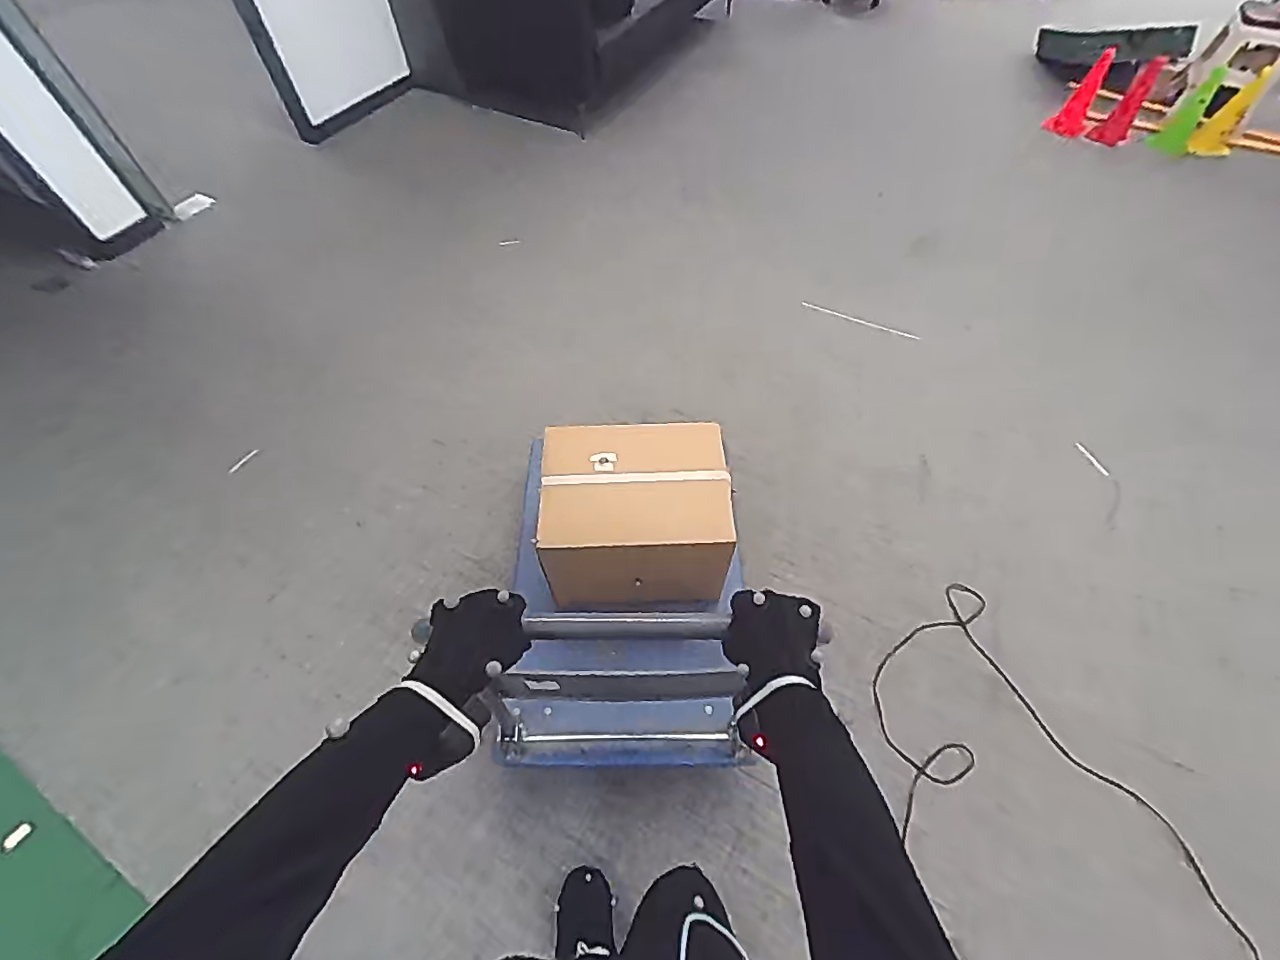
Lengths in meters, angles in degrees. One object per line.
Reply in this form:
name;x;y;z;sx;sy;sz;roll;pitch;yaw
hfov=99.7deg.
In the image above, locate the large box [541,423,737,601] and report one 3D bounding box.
large box;-0.005;0.086;1.293;0.408;0.320;0.320;-2;56;0
